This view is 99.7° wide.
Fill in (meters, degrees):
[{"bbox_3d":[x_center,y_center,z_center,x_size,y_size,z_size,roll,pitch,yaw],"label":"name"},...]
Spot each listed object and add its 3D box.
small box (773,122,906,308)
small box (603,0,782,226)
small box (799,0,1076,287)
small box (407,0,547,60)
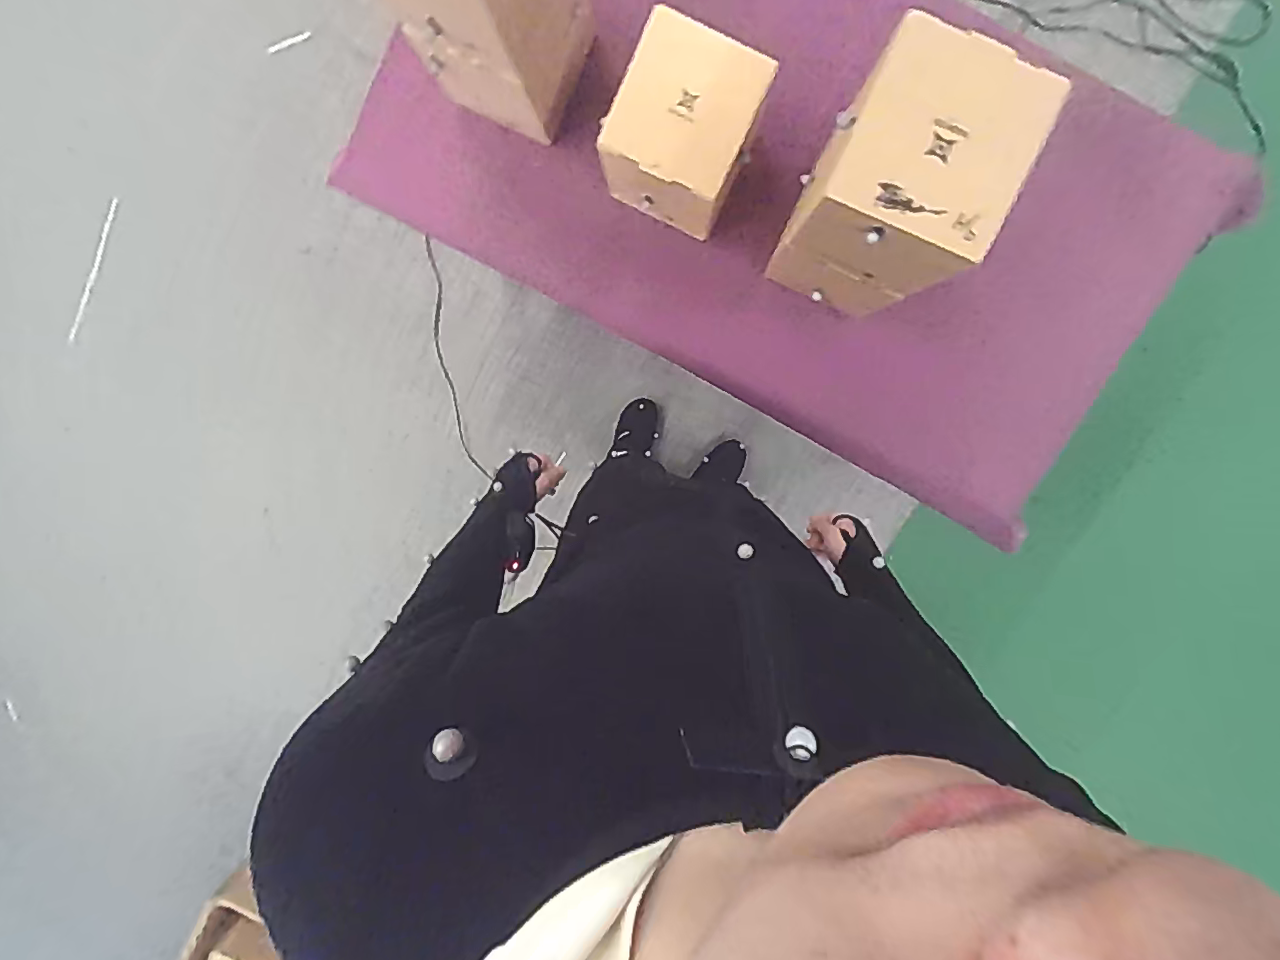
[{"bbox_3d":[0.299,-0.360,0.741,0.168,0.176,0.179,25,100,0],"label":"small box"},{"bbox_3d":[0.065,-0.484,0.736,0.168,0.176,0.179,26,100,-1],"label":"small box"},{"bbox_3d":[0.291,-0.334,0.578,0.168,0.176,0.179,25,99,0],"label":"small box"},{"bbox_3d":[-0.182,-0.603,0.562,0.168,0.176,0.179,26,99,-1],"label":"small box"}]
